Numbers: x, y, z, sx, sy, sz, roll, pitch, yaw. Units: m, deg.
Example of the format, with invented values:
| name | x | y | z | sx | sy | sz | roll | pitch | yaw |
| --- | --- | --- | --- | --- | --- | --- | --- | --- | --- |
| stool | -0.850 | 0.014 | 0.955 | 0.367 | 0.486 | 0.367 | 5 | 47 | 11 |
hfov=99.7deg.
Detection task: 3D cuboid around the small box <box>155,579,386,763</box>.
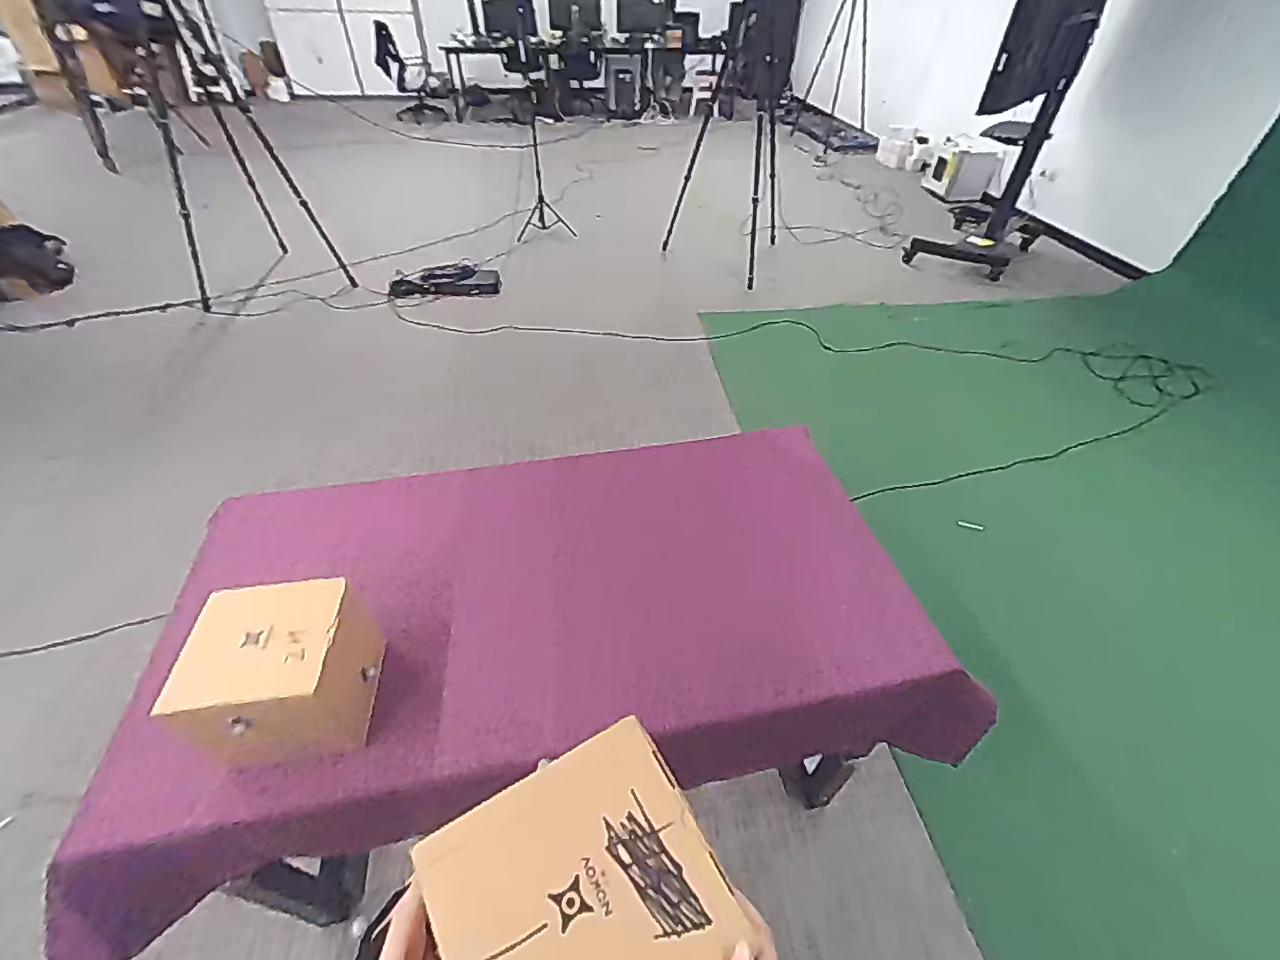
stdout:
| name | x | y | z | sx | sy | sz | roll | pitch | yaw |
| --- | --- | --- | --- | --- | --- | --- | --- | --- | --- |
| small box | -0.467 | 0.256 | 0.722 | 0.179 | 0.176 | 0.168 | -5 | 44 | -7 |
